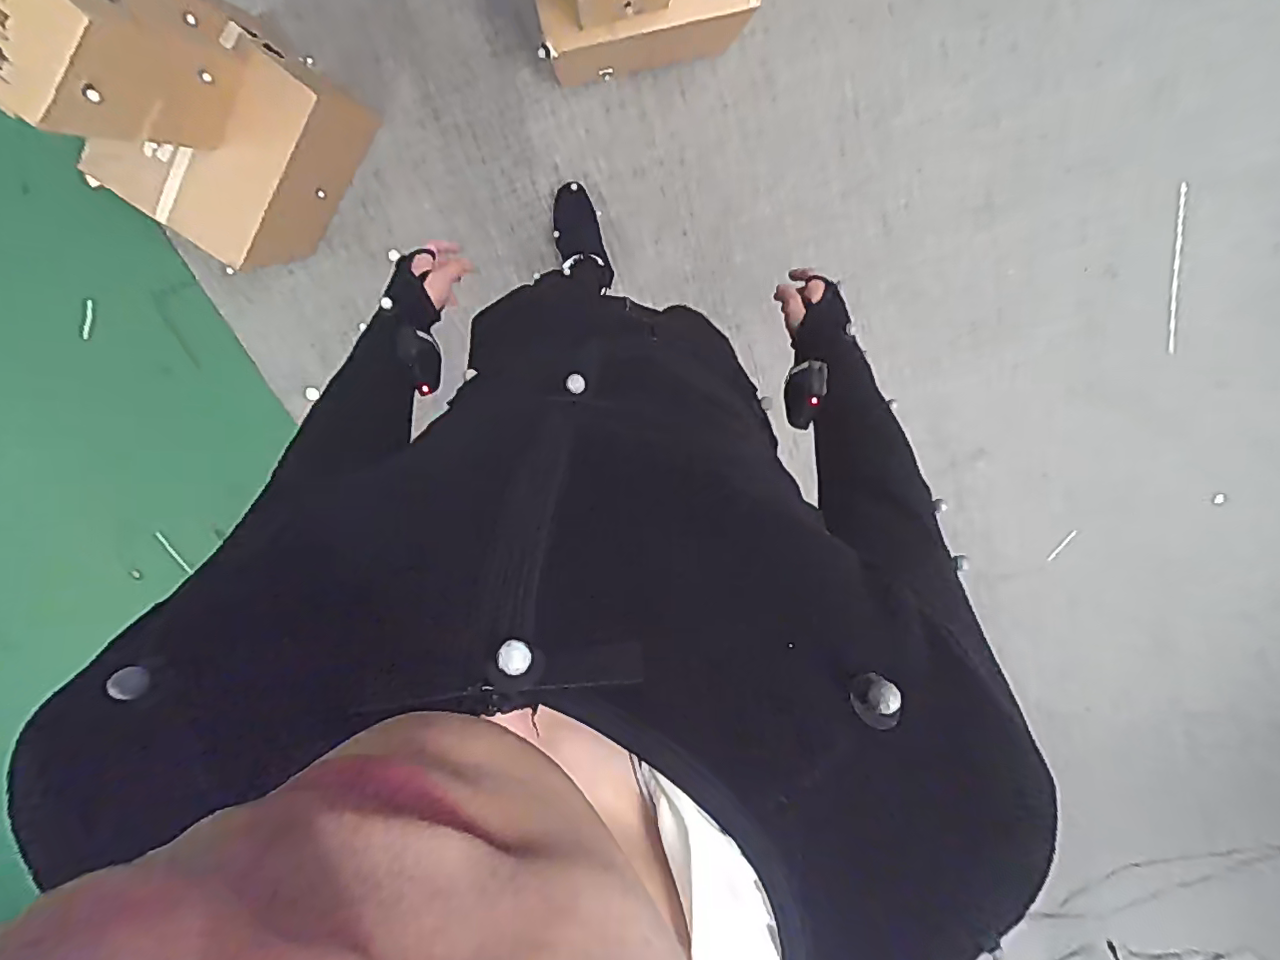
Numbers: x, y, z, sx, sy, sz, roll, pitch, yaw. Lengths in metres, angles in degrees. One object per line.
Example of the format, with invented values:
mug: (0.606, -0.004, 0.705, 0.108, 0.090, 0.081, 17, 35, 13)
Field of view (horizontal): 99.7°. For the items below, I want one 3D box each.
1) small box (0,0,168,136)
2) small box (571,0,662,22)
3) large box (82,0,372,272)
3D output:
small box: (-0.827, -0.620, 0.756, 0.179, 0.176, 0.168, -42, 111, 17)
small box: (-0.048, -0.867, 0.859, 0.168, 0.176, 0.179, -13, 118, 3)
large box: (-0.853, -0.730, 1.160, 0.320, 0.320, 0.408, 35, 111, -17)
